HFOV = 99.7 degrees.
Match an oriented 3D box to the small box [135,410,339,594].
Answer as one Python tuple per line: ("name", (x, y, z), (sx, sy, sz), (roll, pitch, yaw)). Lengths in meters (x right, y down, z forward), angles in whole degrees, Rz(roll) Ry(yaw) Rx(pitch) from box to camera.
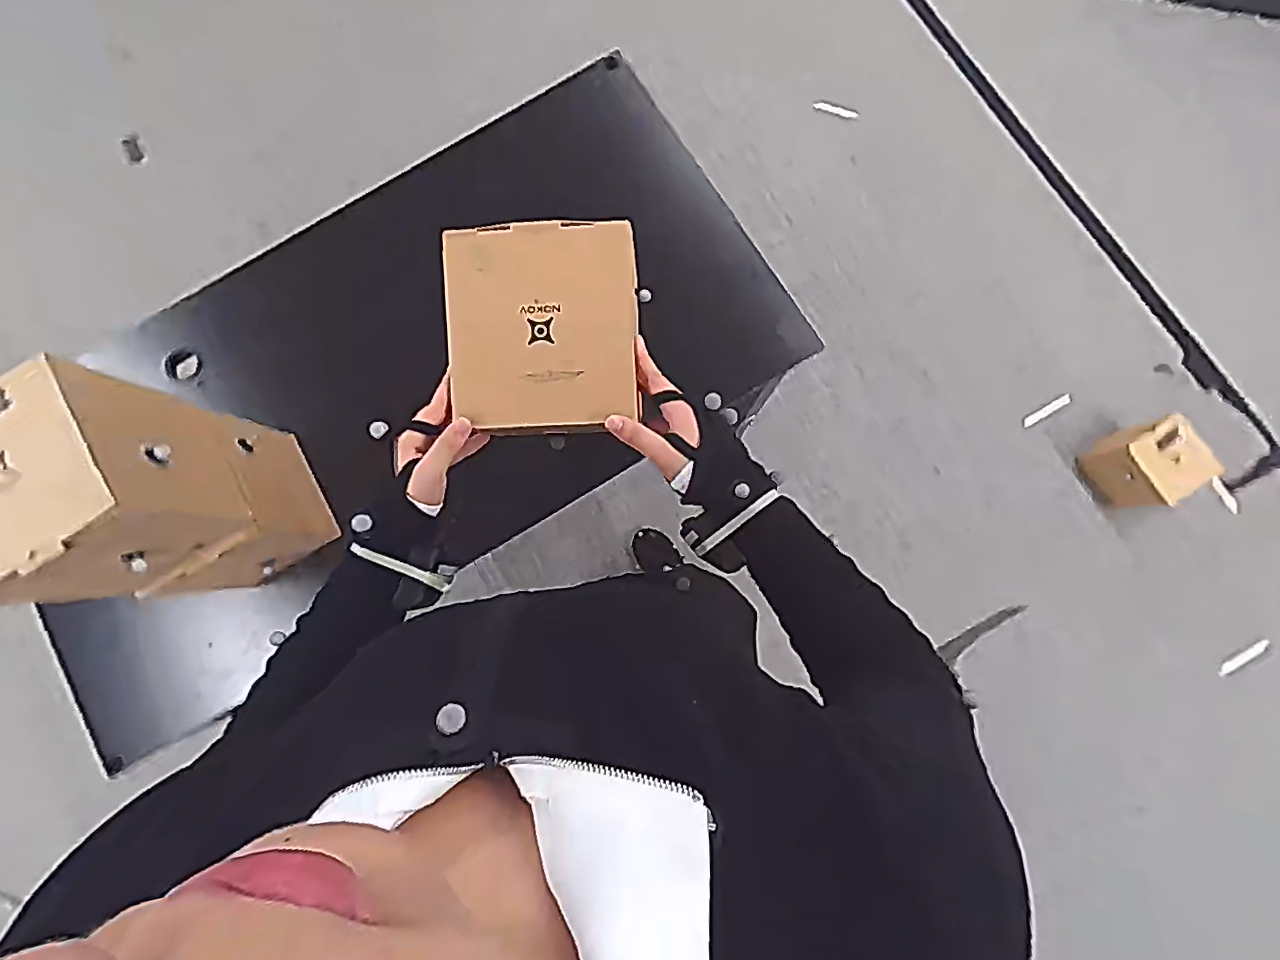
("small box", (-0.556, 0.035, 0.732), (0.168, 0.176, 0.179), (-30, 82, -1))

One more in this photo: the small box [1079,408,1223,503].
("small box", (1.310, -0.056, 1.402), (0.168, 0.176, 0.179), (-33, 83, -2))

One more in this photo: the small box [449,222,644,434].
("small box", (-0.082, -0.139, 0.552), (0.168, 0.176, 0.179), (-1, 93, 3))

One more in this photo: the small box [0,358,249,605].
("small box", (-0.570, 0.007, 0.571), (0.168, 0.176, 0.179), (-33, 83, -2))
